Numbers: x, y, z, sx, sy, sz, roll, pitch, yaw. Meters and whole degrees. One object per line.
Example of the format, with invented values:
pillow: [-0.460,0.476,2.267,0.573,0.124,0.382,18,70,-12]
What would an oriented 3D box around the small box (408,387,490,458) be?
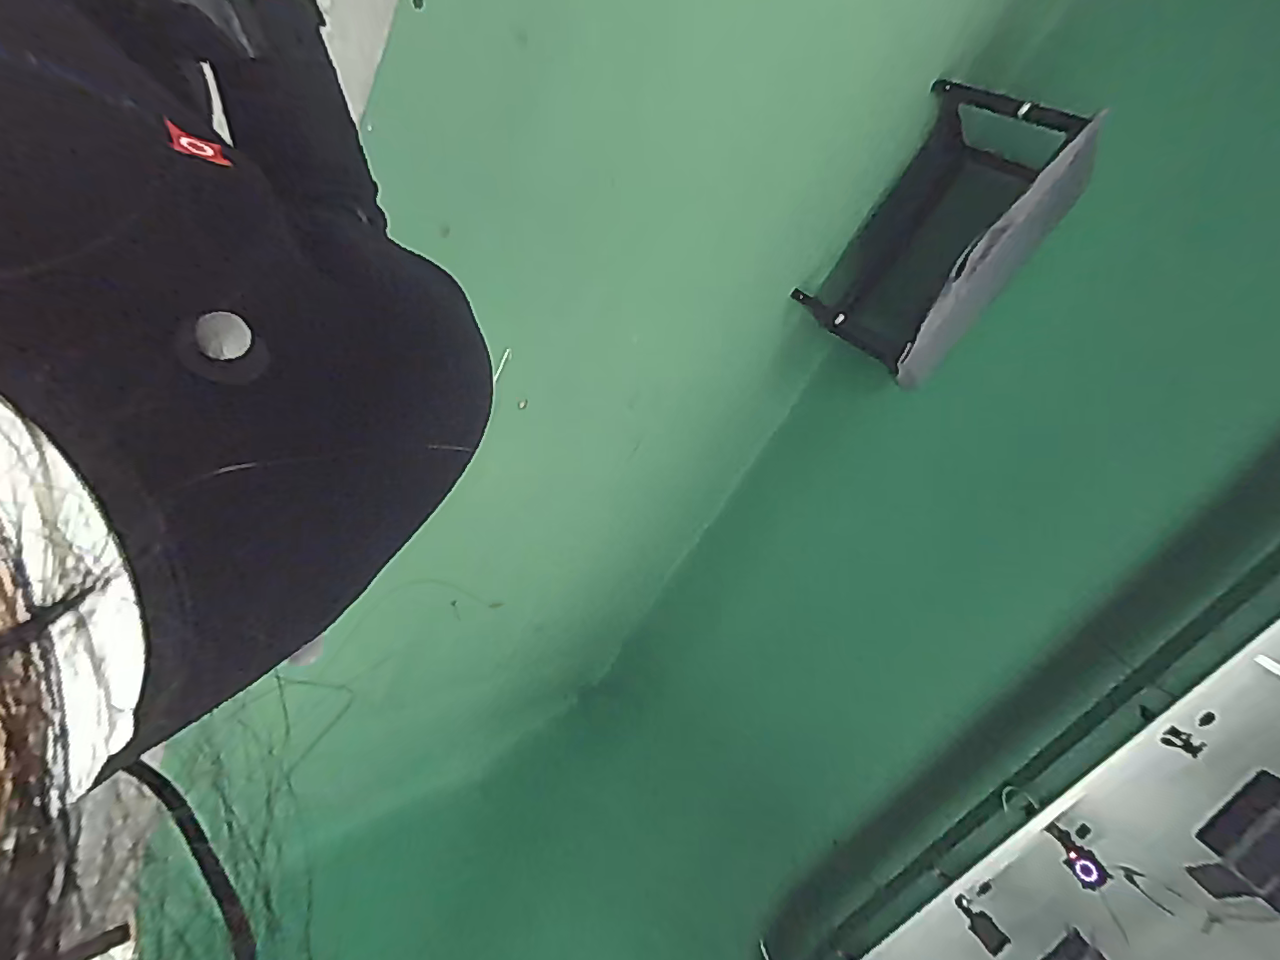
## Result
small box: [-0.642,-0.193,1.805,0.179,0.176,0.168,2,125,-56]
